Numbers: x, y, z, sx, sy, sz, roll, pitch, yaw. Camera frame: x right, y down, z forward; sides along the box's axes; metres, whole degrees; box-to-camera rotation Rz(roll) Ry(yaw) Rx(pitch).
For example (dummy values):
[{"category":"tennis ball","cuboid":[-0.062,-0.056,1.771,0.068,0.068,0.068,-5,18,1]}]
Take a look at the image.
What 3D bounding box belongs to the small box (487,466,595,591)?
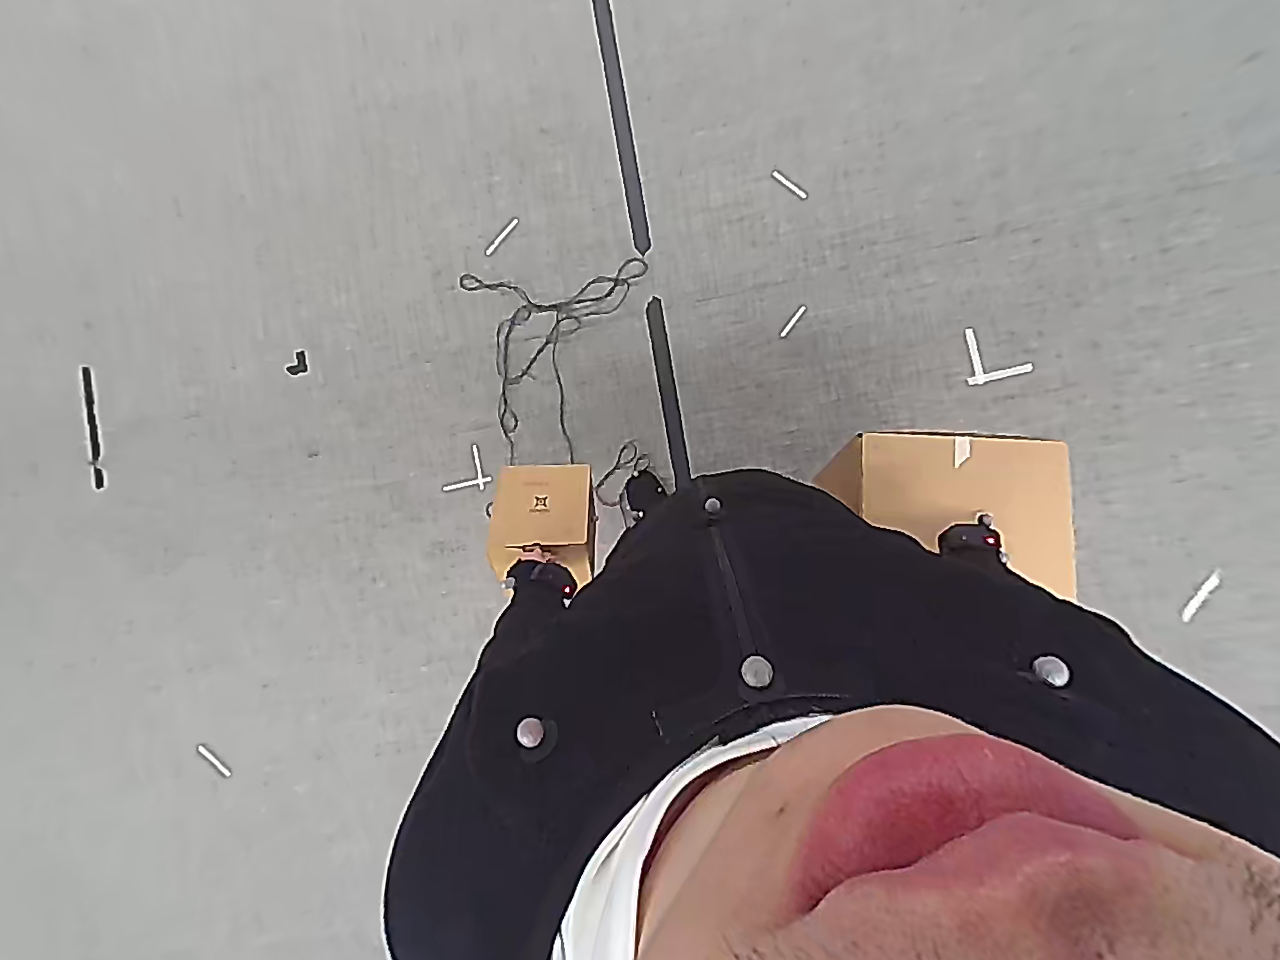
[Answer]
[{"category":"small box","cuboid":[-0.170,0.093,0.993,0.168,0.176,0.179,0,51,-2]}]
